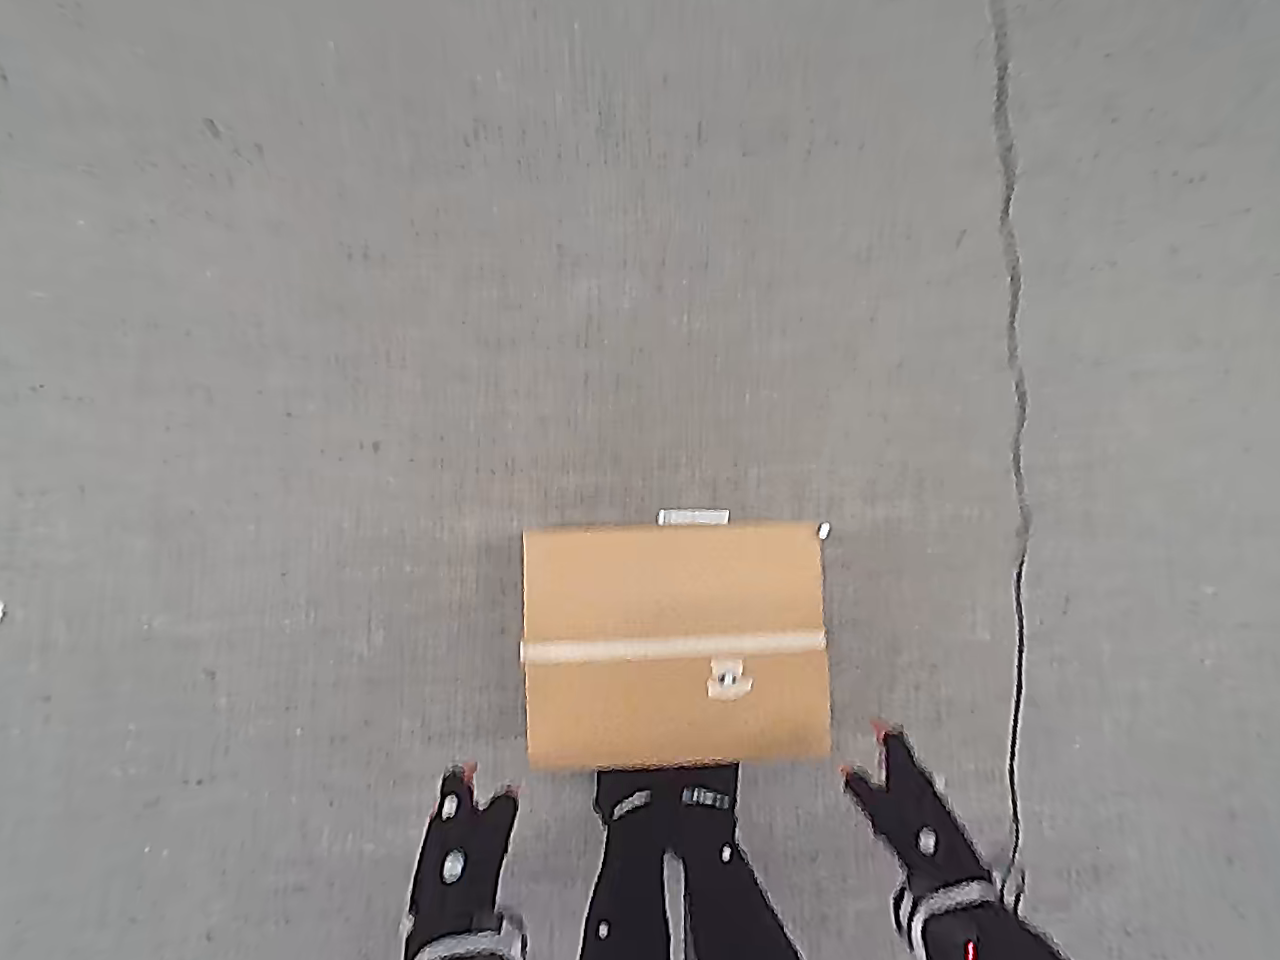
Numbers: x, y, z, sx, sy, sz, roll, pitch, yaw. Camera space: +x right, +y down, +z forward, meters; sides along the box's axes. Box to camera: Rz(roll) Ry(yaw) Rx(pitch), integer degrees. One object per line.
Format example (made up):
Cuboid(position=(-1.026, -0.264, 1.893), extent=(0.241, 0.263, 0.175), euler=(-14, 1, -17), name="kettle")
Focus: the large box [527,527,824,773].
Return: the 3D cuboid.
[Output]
Cuboid(position=(0.039, 0.243, 0.892), extent=(0.408, 0.320, 0.320), euler=(-2, 86, -3), name="large box")
